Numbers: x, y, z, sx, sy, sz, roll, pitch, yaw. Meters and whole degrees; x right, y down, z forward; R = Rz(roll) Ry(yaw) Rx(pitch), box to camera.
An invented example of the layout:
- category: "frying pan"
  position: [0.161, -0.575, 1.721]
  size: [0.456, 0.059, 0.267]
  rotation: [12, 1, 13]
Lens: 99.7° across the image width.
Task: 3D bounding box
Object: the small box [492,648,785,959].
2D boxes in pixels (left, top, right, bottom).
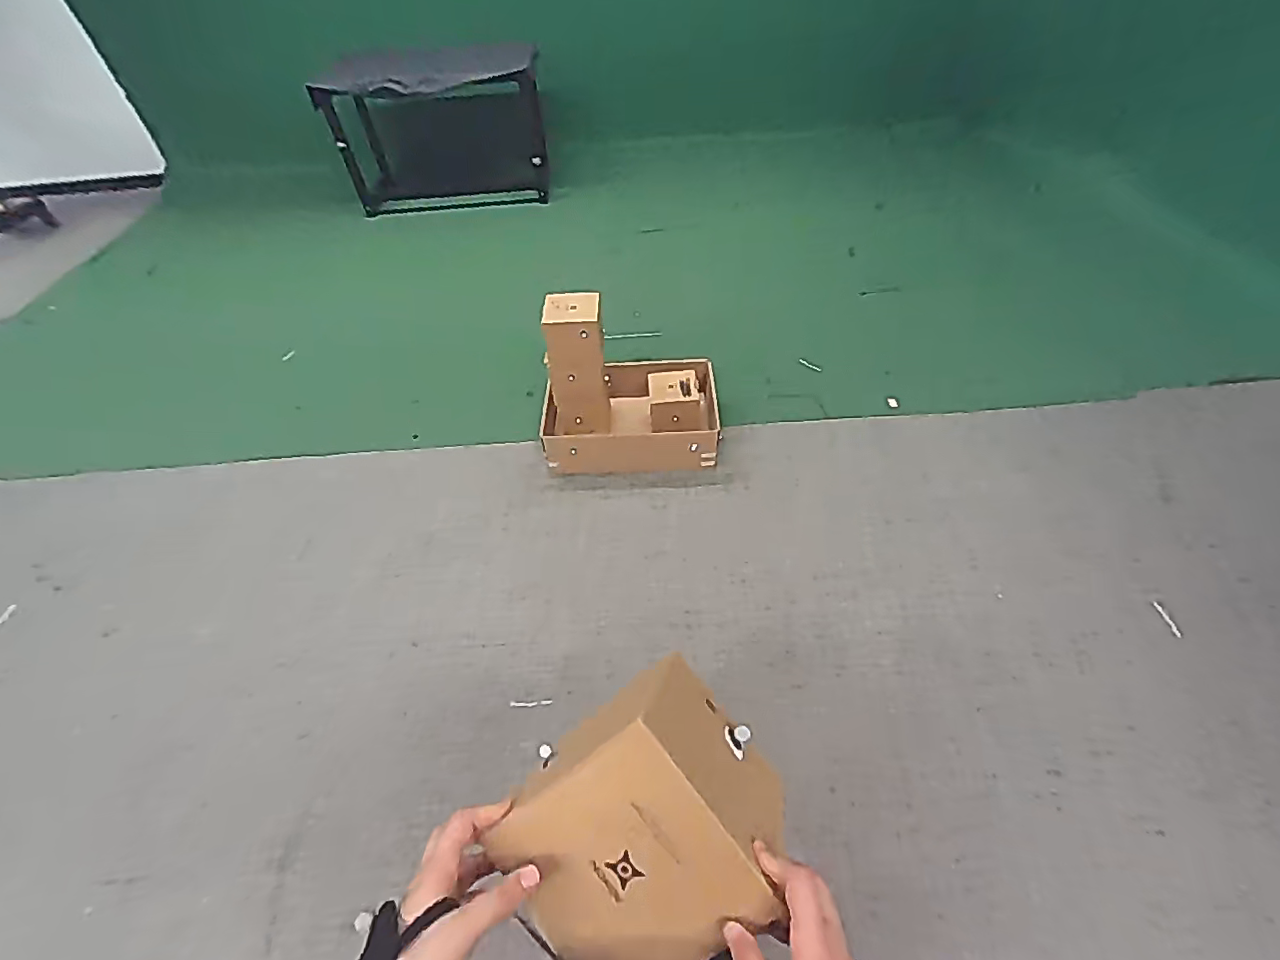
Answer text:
- category: "small box"
  position: [0.010, 0.287, 0.489]
  size: [0.179, 0.176, 0.168]
  rotation: [-41, 84, 10]

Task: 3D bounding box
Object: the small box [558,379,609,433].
- category: "small box"
  position: [-0.203, -0.284, 2.001]
  size: [0.168, 0.176, 0.179]
  rotation: [-3, 51, 1]

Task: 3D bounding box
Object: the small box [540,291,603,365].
- category: "small box"
  position: [-0.213, -0.487, 1.741]
  size: [0.179, 0.176, 0.168]
  rotation: [-3, 50, 1]

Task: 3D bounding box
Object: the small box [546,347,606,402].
- category: "small box"
  position: [-0.216, -0.382, 1.870]
  size: [0.179, 0.176, 0.168]
  rotation: [-2, 51, 1]
